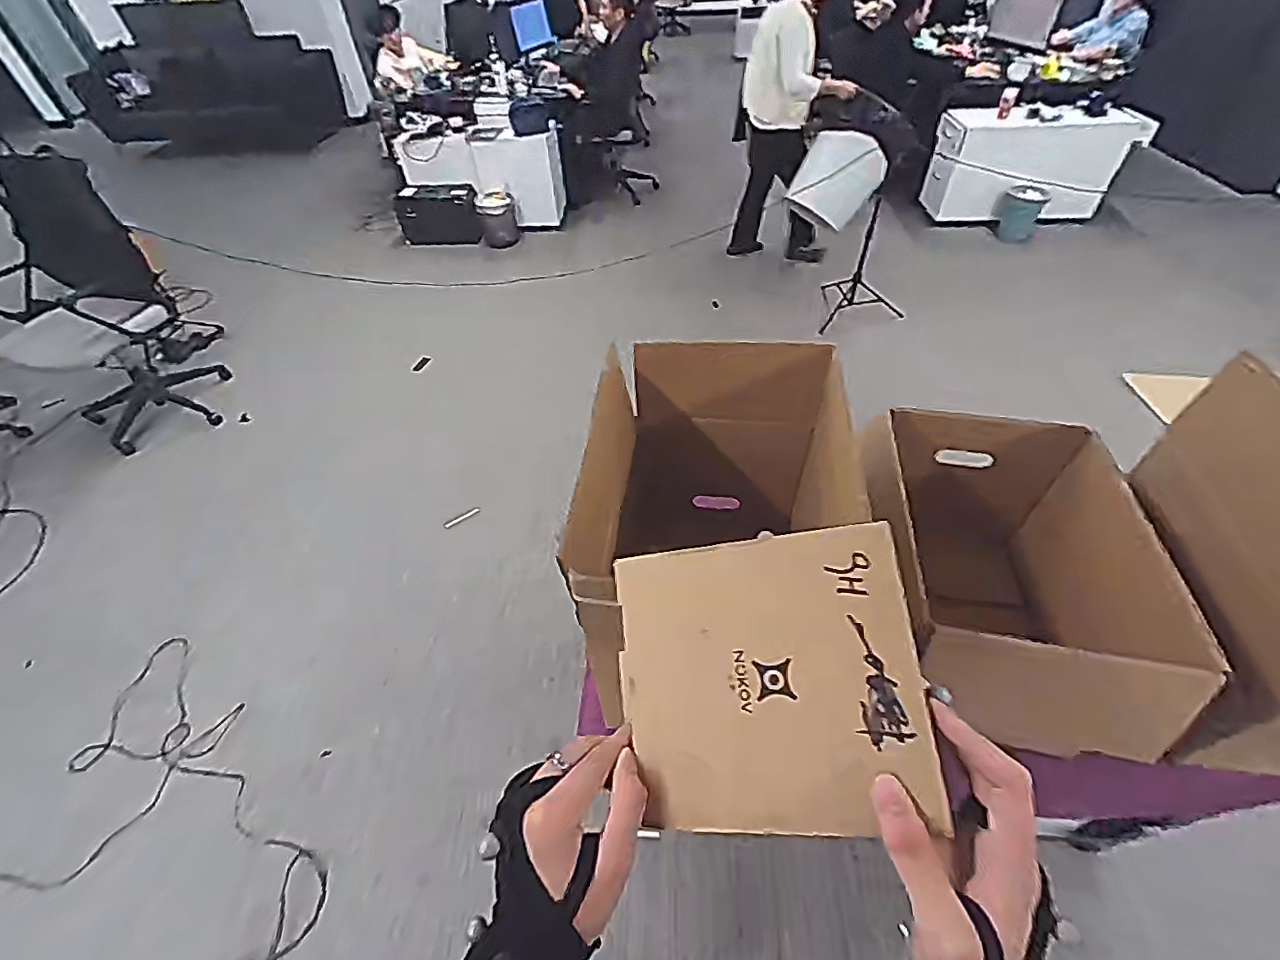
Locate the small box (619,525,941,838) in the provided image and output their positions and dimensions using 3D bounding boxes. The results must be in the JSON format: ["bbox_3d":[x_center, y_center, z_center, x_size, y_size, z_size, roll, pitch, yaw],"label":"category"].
[{"bbox_3d":[0.101,0.132,0.397,0.179,0.176,0.168,-10,76,20],"label":"small box"}]
